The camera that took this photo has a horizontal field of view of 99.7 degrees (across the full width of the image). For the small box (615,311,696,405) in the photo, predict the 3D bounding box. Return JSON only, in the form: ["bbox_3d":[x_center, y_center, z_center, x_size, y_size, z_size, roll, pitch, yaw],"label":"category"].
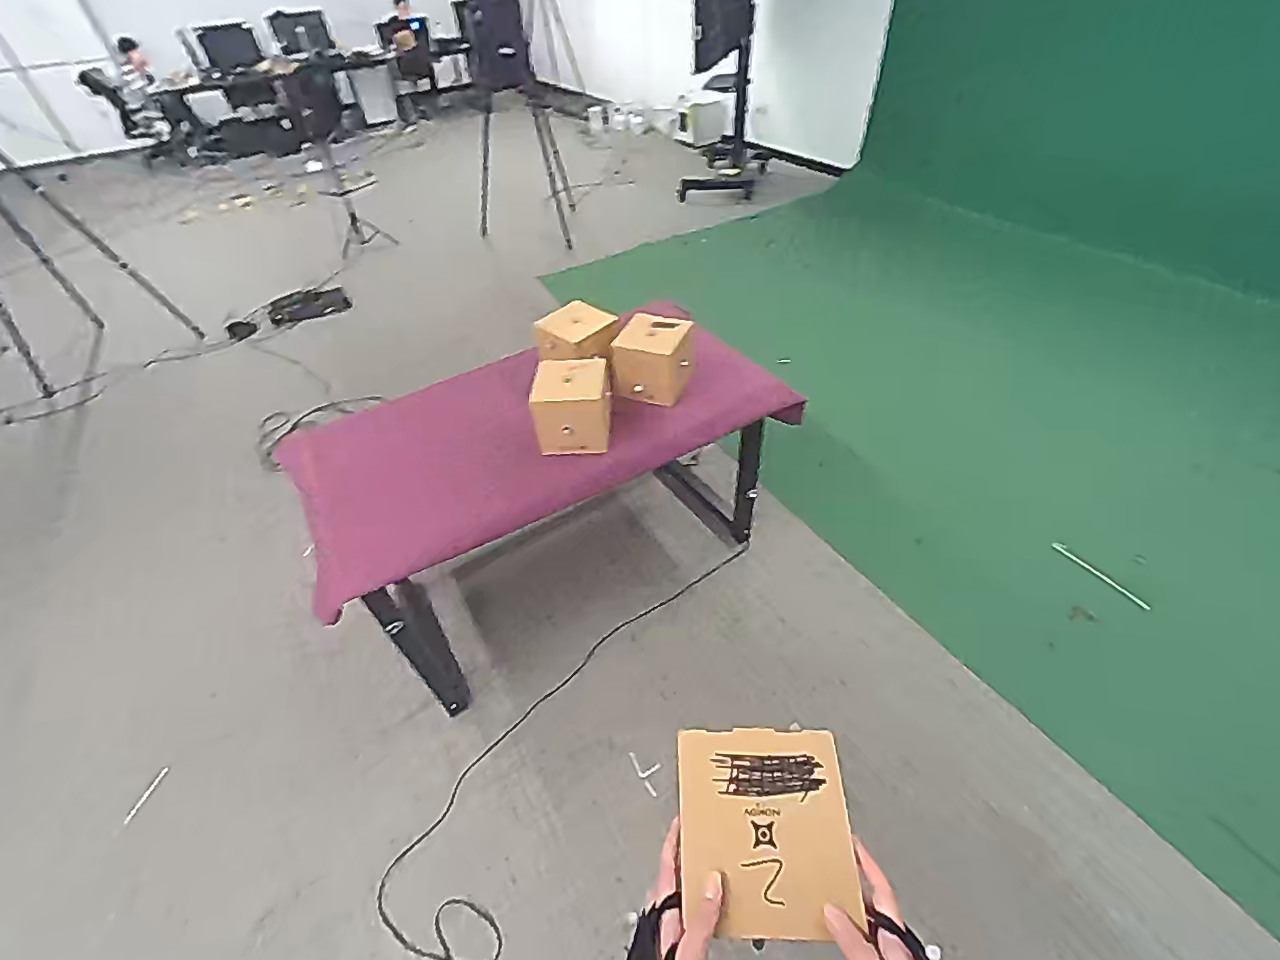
[{"bbox_3d":[0.046,-0.333,1.475,0.168,0.176,0.179,15,50,19],"label":"small box"}]

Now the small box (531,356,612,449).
[{"bbox_3d":[-0.161,-0.188,1.344,0.168,0.176,0.179,-1,45,3],"label":"small box"}]

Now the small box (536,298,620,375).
[{"bbox_3d":[-0.168,-0.388,1.549,0.179,0.176,0.168,32,56,30],"label":"small box"}]
